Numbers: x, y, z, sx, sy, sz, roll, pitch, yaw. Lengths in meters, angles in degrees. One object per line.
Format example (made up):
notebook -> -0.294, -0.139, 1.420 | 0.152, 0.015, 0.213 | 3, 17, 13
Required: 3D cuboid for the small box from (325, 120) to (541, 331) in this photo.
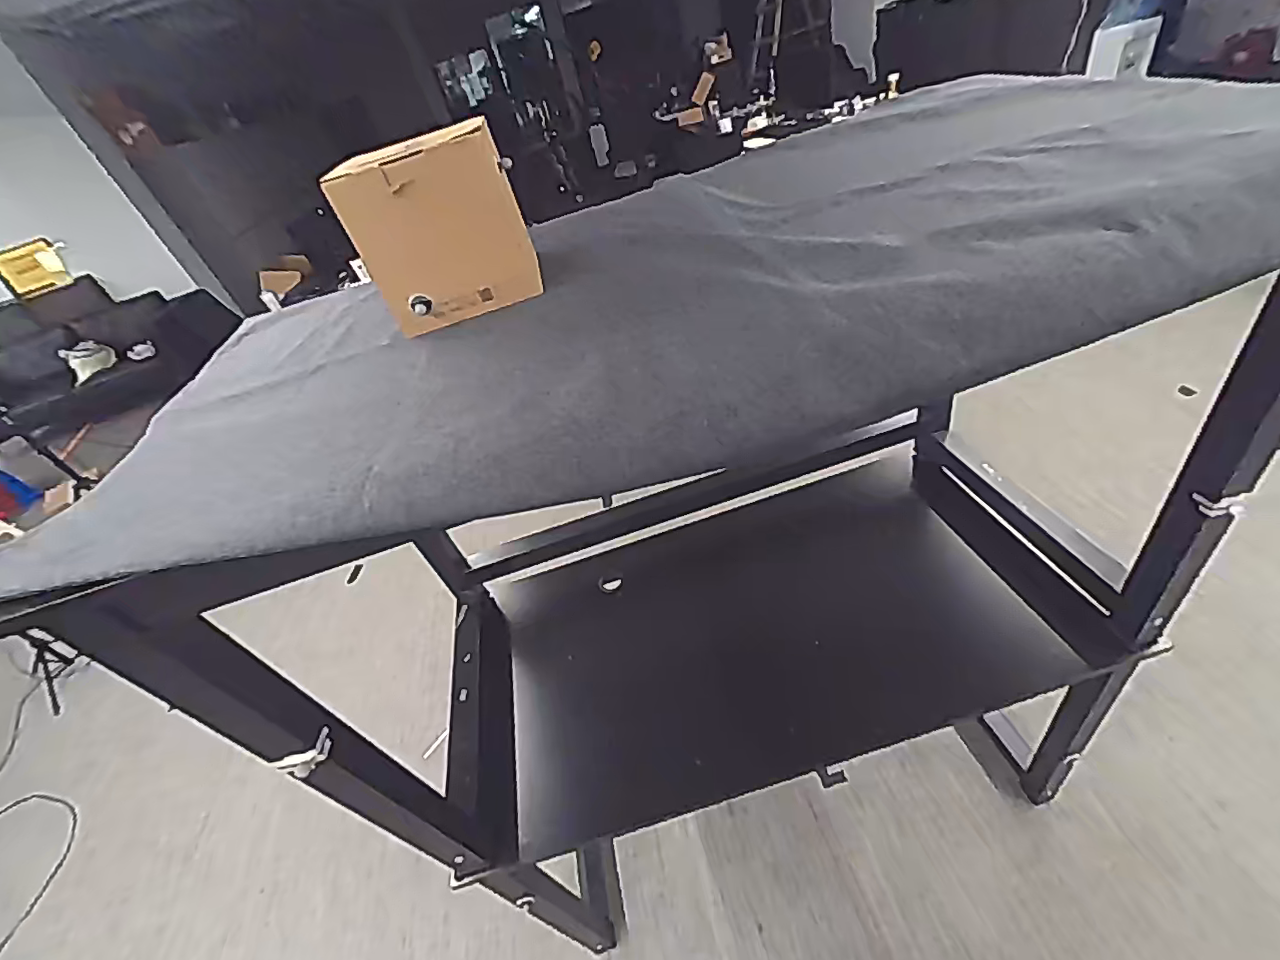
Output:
small box -> -0.222, -0.294, 0.633 | 0.168, 0.176, 0.179 | -18, 38, 0
